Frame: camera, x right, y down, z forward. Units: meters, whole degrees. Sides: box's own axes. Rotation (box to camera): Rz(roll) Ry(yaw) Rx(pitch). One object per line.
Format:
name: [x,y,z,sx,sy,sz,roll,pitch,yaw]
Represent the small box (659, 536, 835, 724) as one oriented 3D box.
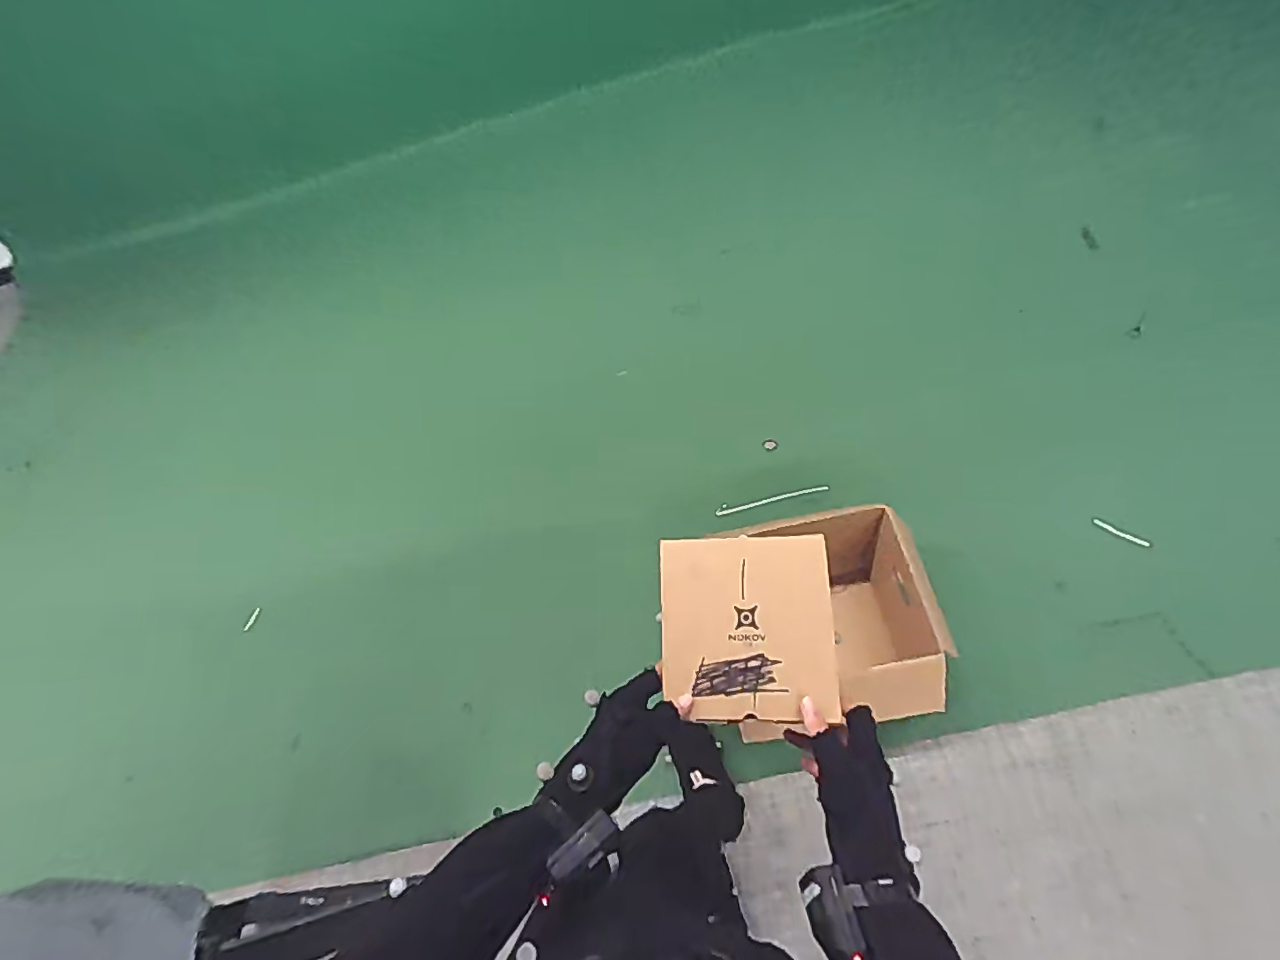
small box: [0.113,0.161,0.603,0.168,0.176,0.179,-3,75,9]
